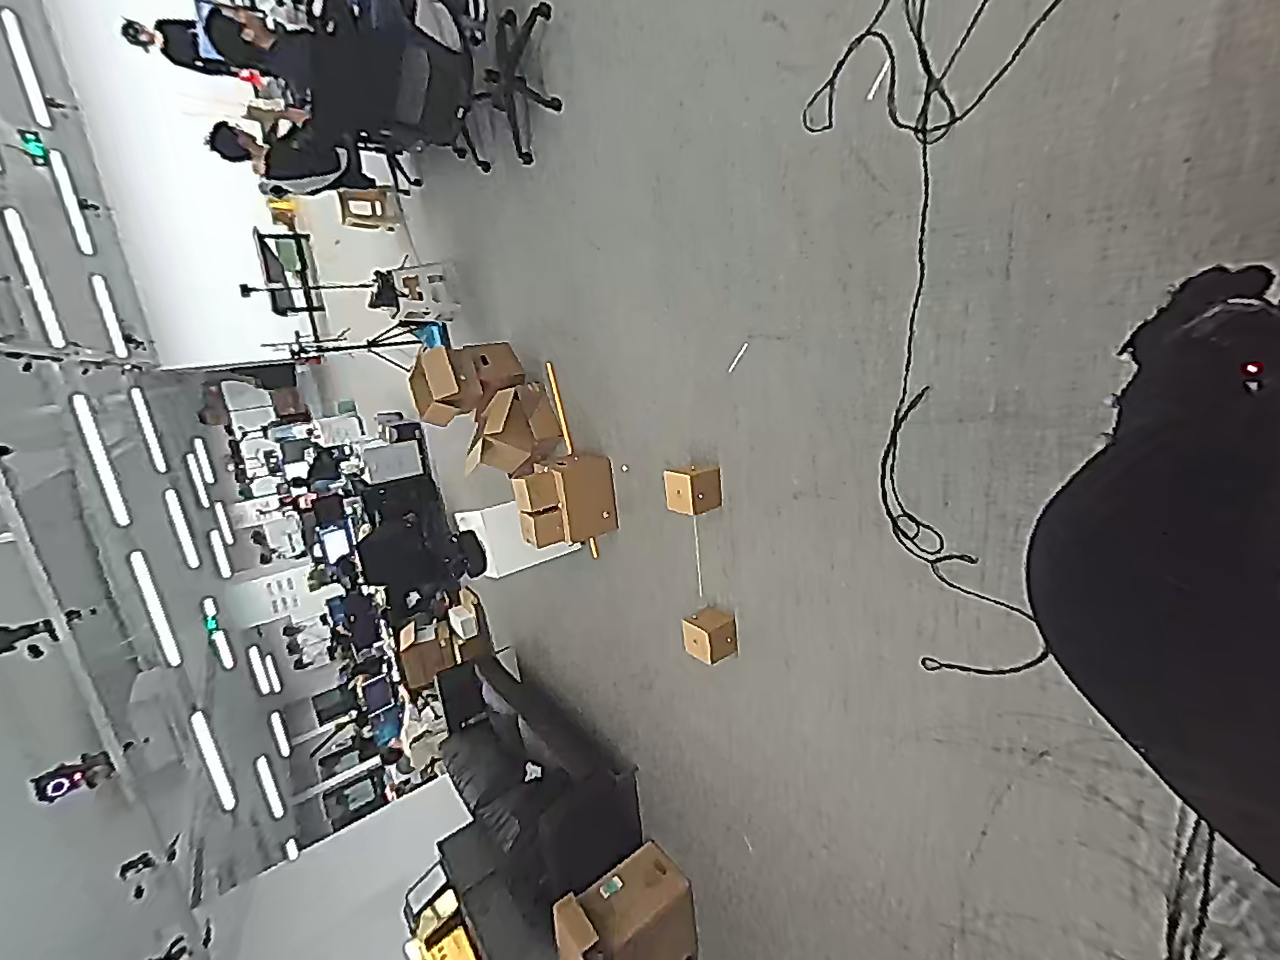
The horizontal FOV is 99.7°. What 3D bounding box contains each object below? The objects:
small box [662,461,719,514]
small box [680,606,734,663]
[{"bbox_3d":[0.214,0.026,2.272,0.168,0.176,0.179,12,114,52],"label":"small box"},{"bbox_3d":[0.302,0.687,2.432,0.179,0.176,0.168,13,114,52],"label":"small box"}]
